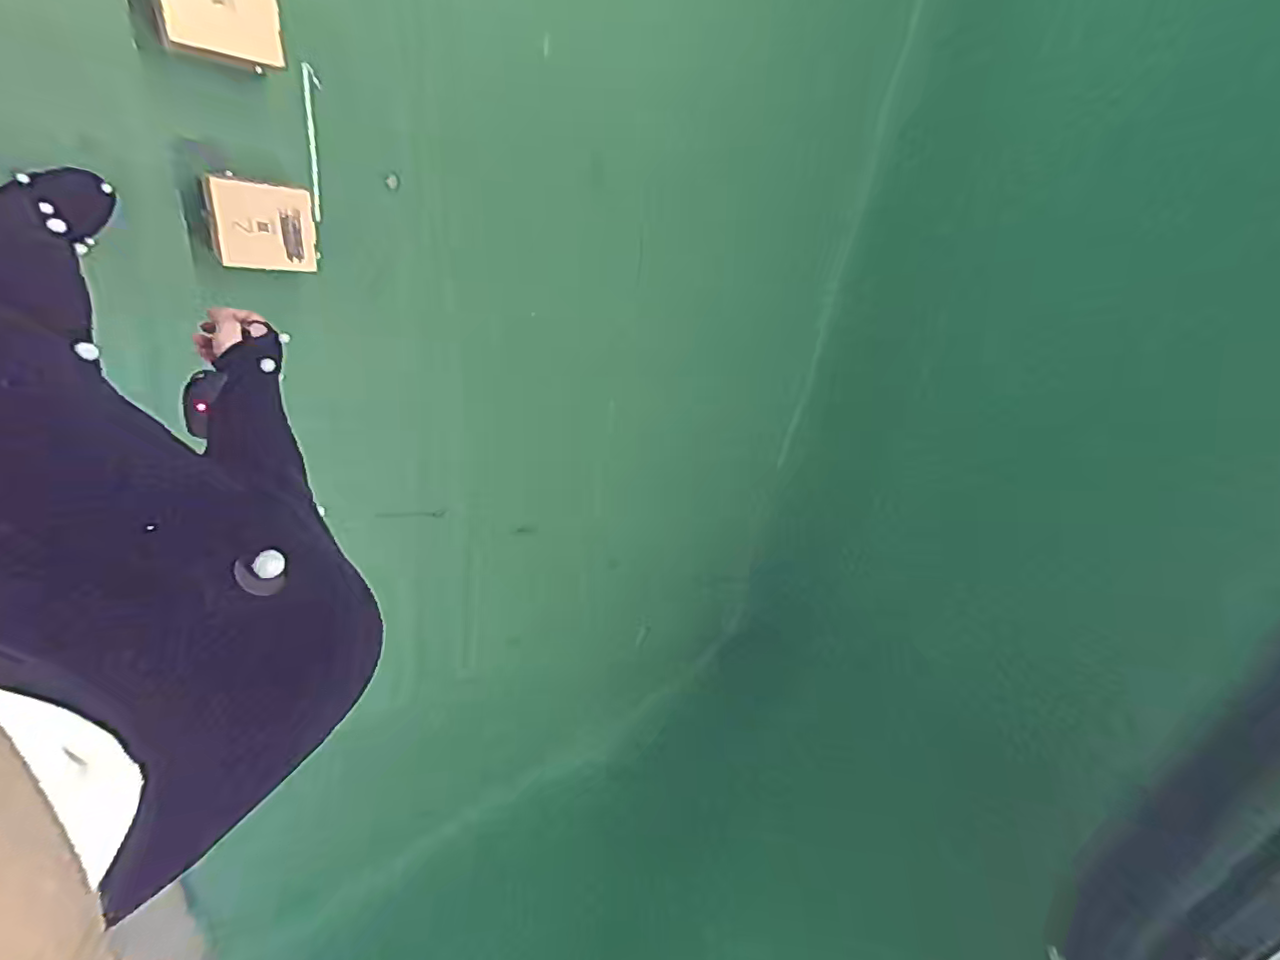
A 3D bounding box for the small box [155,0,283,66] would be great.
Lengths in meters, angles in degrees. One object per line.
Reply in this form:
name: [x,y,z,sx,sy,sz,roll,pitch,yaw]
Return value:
small box: [-0.790,-0.893,1.003,0.179,0.176,0.168,-15,125,-39]
